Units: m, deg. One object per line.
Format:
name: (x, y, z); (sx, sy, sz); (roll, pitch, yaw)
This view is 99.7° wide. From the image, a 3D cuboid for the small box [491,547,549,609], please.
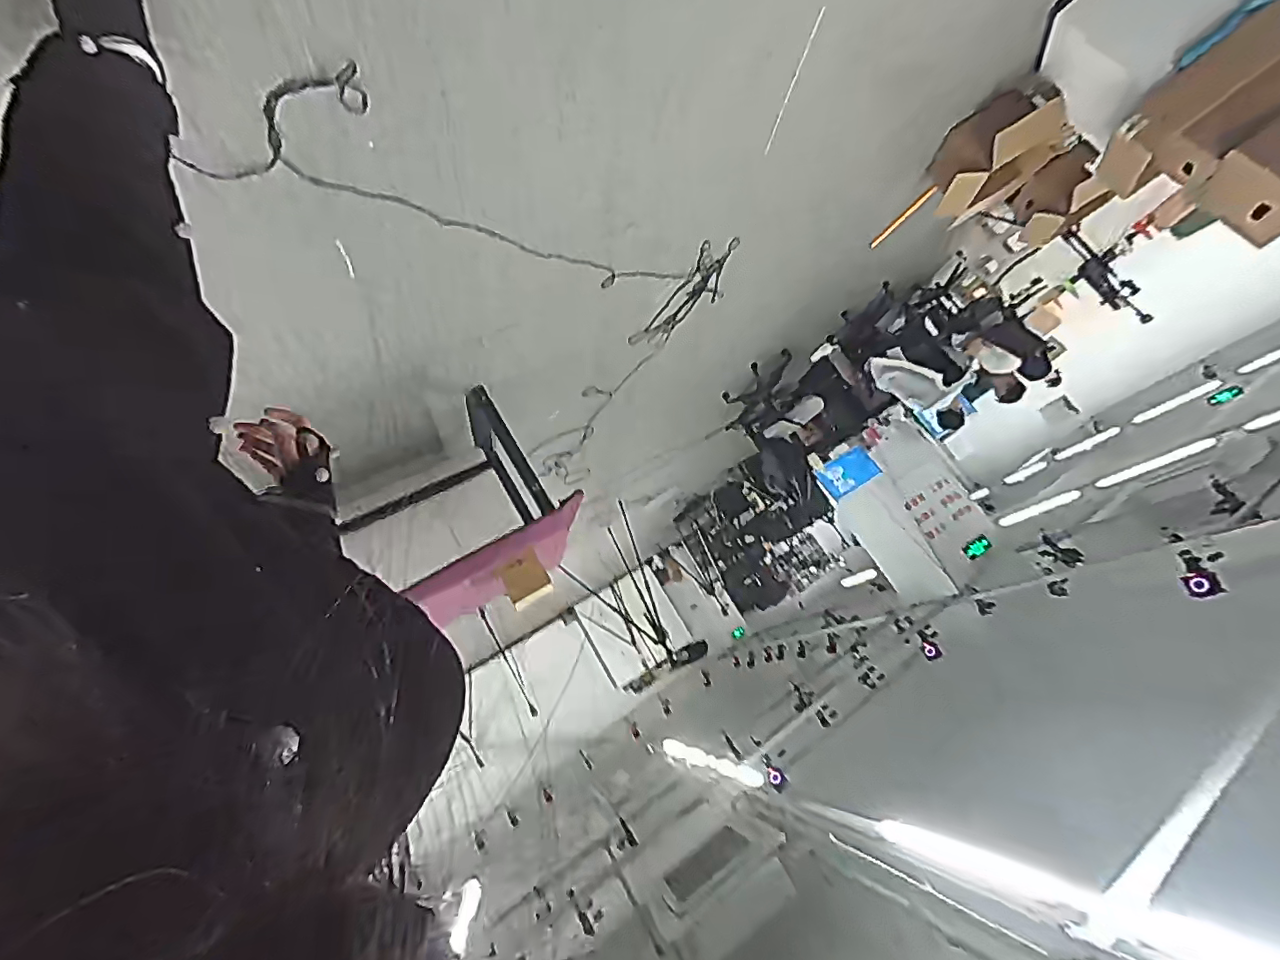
small box: (-0.473, 0.385, 2.136); (0.168, 0.176, 0.179); (-28, 165, -20)
